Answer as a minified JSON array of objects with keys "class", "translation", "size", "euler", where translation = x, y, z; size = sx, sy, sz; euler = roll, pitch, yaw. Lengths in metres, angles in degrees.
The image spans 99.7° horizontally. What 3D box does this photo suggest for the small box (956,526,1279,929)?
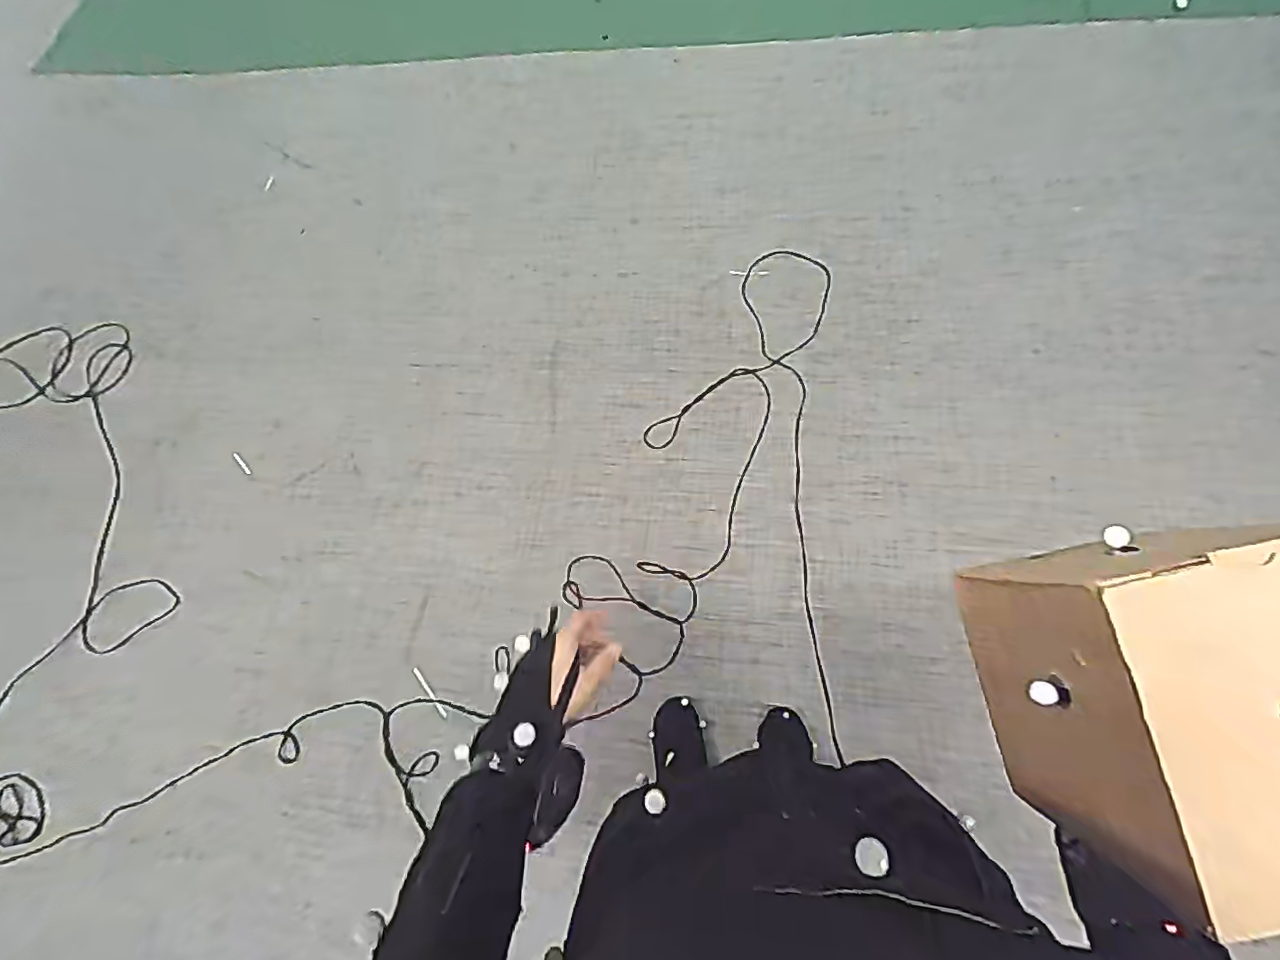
[{"class":"small box","translation":[0.345,0.132,0.355],"size":[0.168,0.176,0.179],"euler":[-14,81,4]}]
